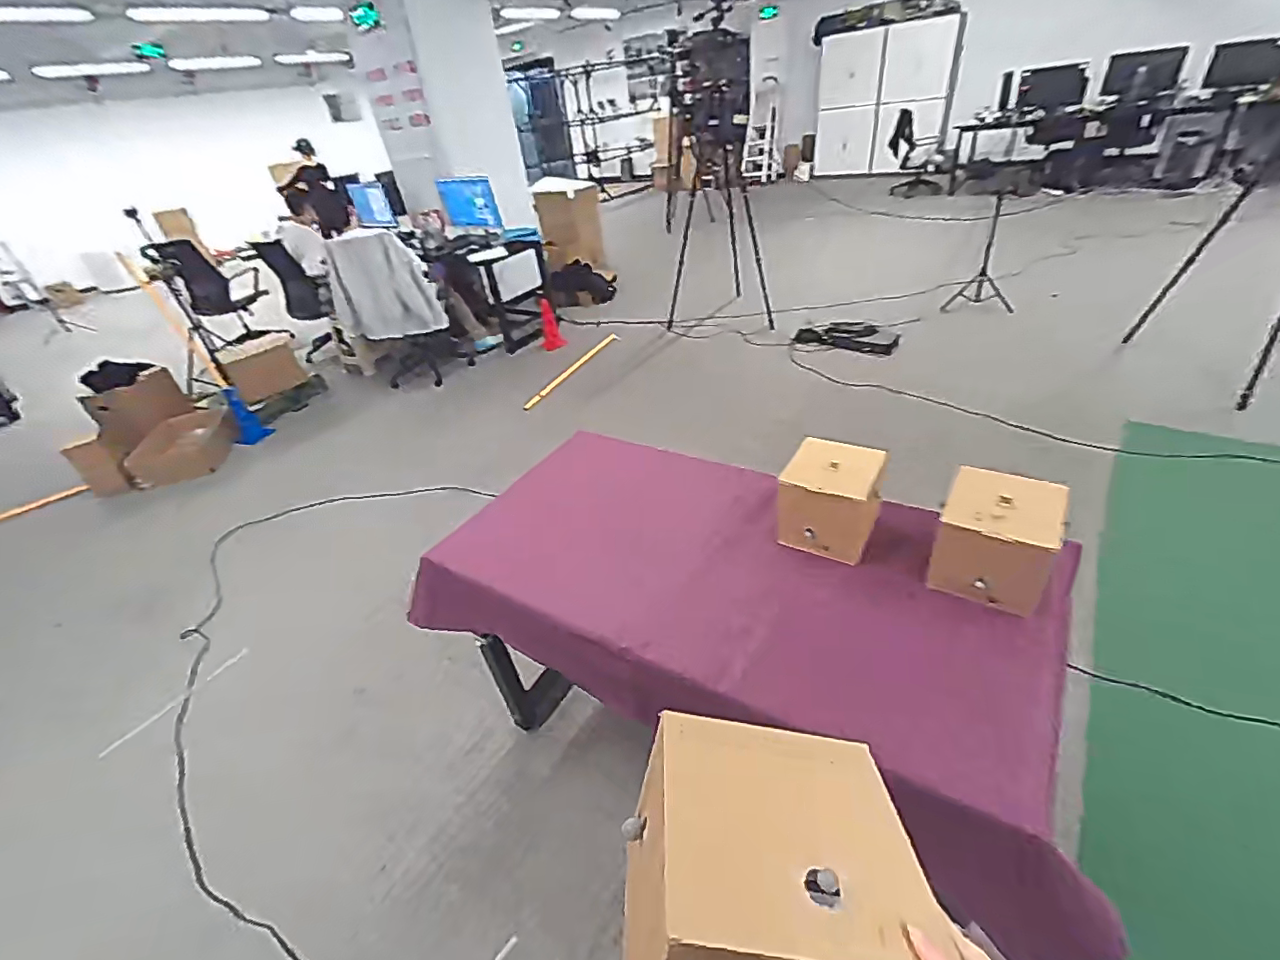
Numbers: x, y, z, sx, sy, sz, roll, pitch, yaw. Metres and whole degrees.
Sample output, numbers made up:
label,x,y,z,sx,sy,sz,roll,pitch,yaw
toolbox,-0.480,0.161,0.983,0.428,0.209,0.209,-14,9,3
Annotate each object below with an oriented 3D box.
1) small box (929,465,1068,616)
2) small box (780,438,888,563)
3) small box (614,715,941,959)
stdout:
label,x,y,z,sx,sy,sz,roll,pitch,yaw
small box,0.631,0.104,0.963,0.168,0.176,0.179,16,45,33
small box,0.397,0.040,1.120,0.168,0.176,0.179,15,43,31
small box,0.080,0.305,0.404,0.179,0.168,0.176,10,21,-2
